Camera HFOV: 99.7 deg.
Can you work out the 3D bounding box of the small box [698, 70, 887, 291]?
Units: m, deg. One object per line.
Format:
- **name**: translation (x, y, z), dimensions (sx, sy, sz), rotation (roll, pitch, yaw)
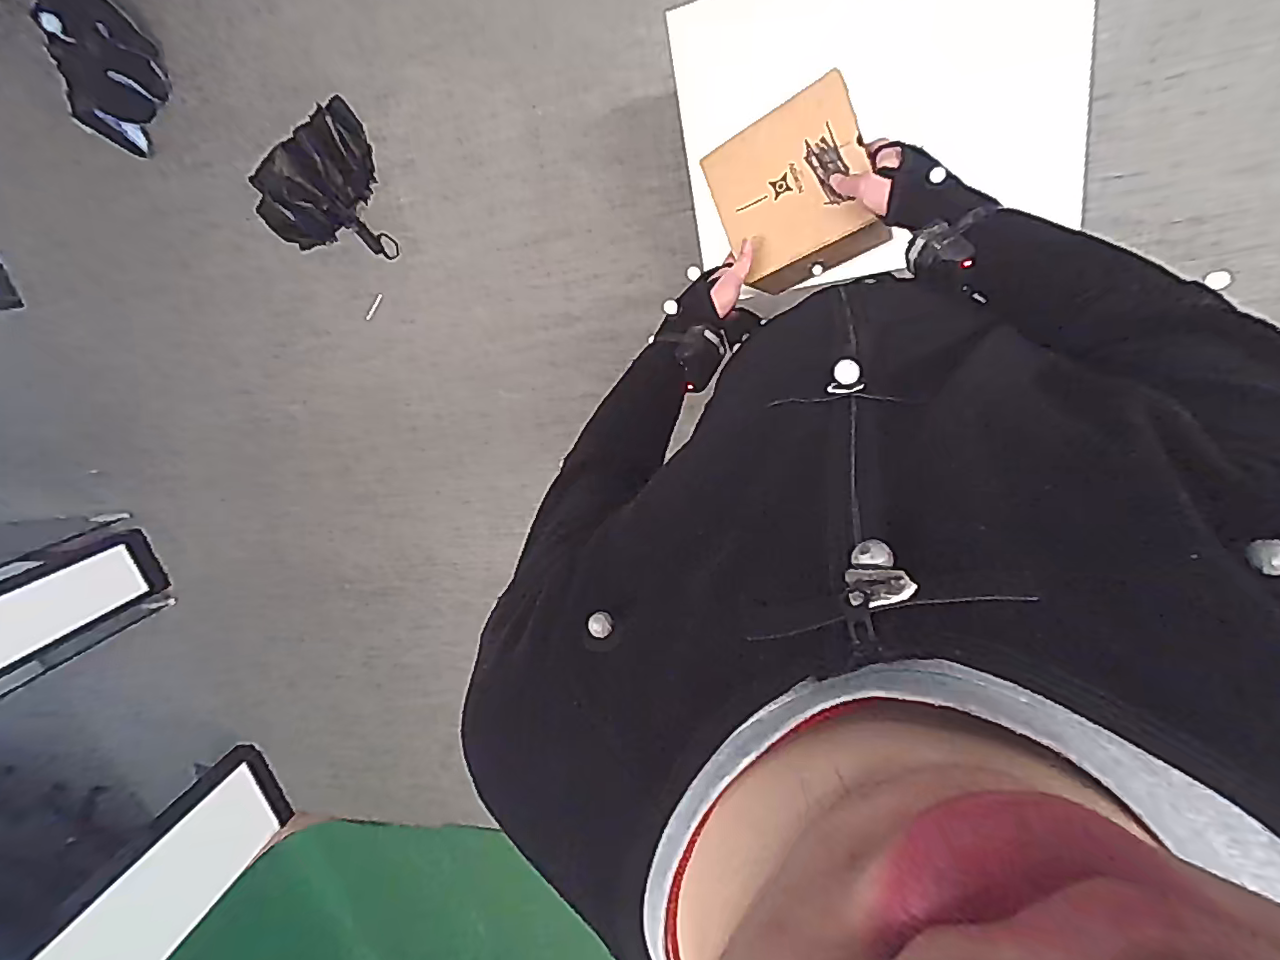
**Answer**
- **small box**: translation (0.204, -0.361, 0.695), dimensions (0.179, 0.176, 0.168), rotation (-20, 92, 31)
